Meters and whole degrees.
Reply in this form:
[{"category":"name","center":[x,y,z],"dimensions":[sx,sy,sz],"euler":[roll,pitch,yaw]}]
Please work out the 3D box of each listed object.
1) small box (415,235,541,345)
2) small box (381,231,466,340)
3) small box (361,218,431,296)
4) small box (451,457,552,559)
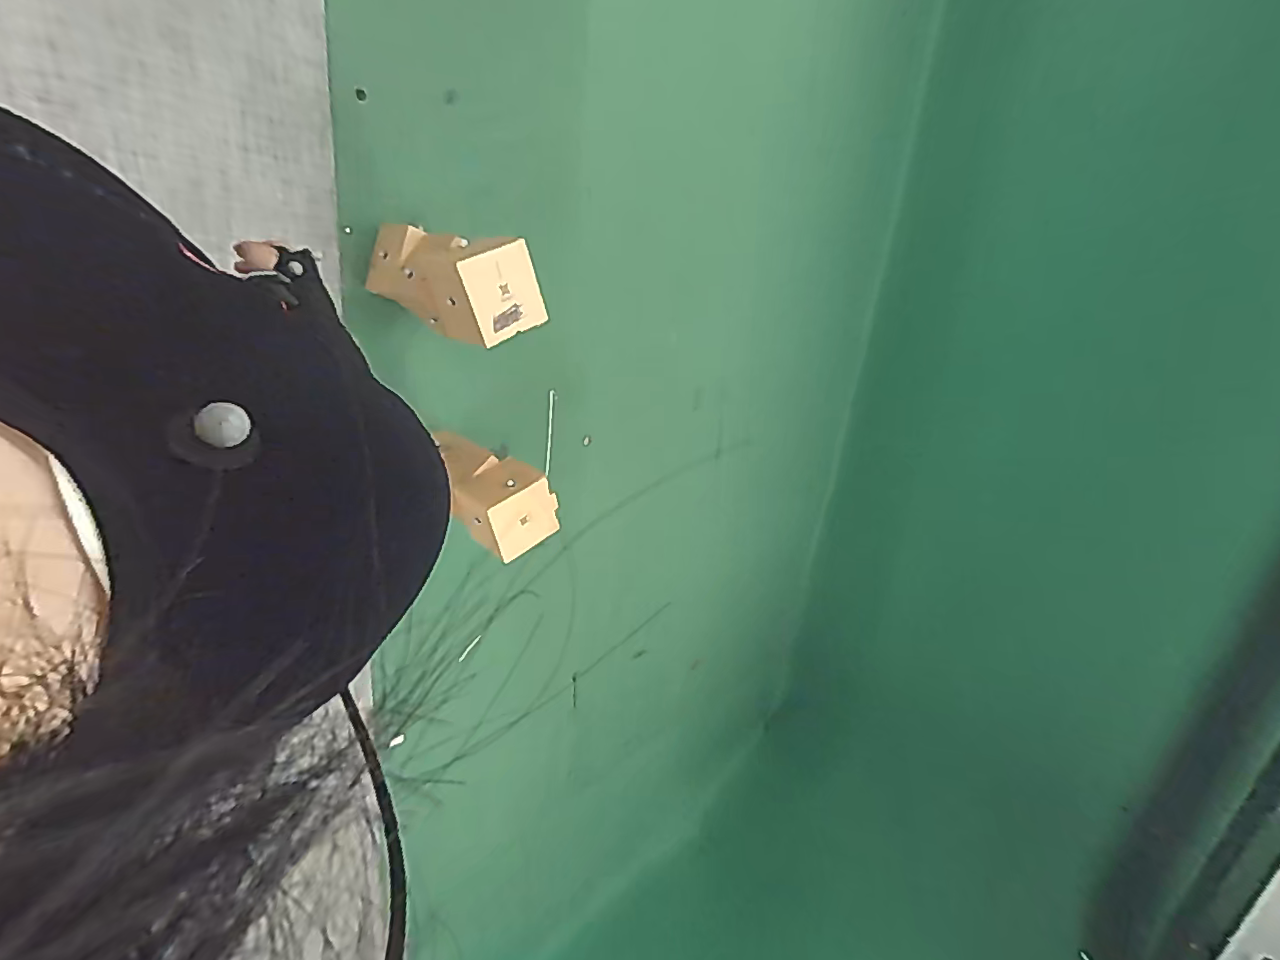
[{"category":"small box","center":[-0.343,-0.410,1.150],"dimensions":[0.168,0.176,0.179],"euler":[-36,131,-30]},{"category":"small box","center":[-0.461,-0.453,1.257],"dimensions":[0.168,0.176,0.179],"euler":[-58,141,-8]},{"category":"small box","center":[-0.569,-0.533,1.352],"dimensions":[0.179,0.176,0.168],"euler":[10,101,-50]},{"category":"small box","center":[-0.355,0.065,1.368],"dimensions":[0.179,0.176,0.168],"euler":[-34,131,-34]}]
